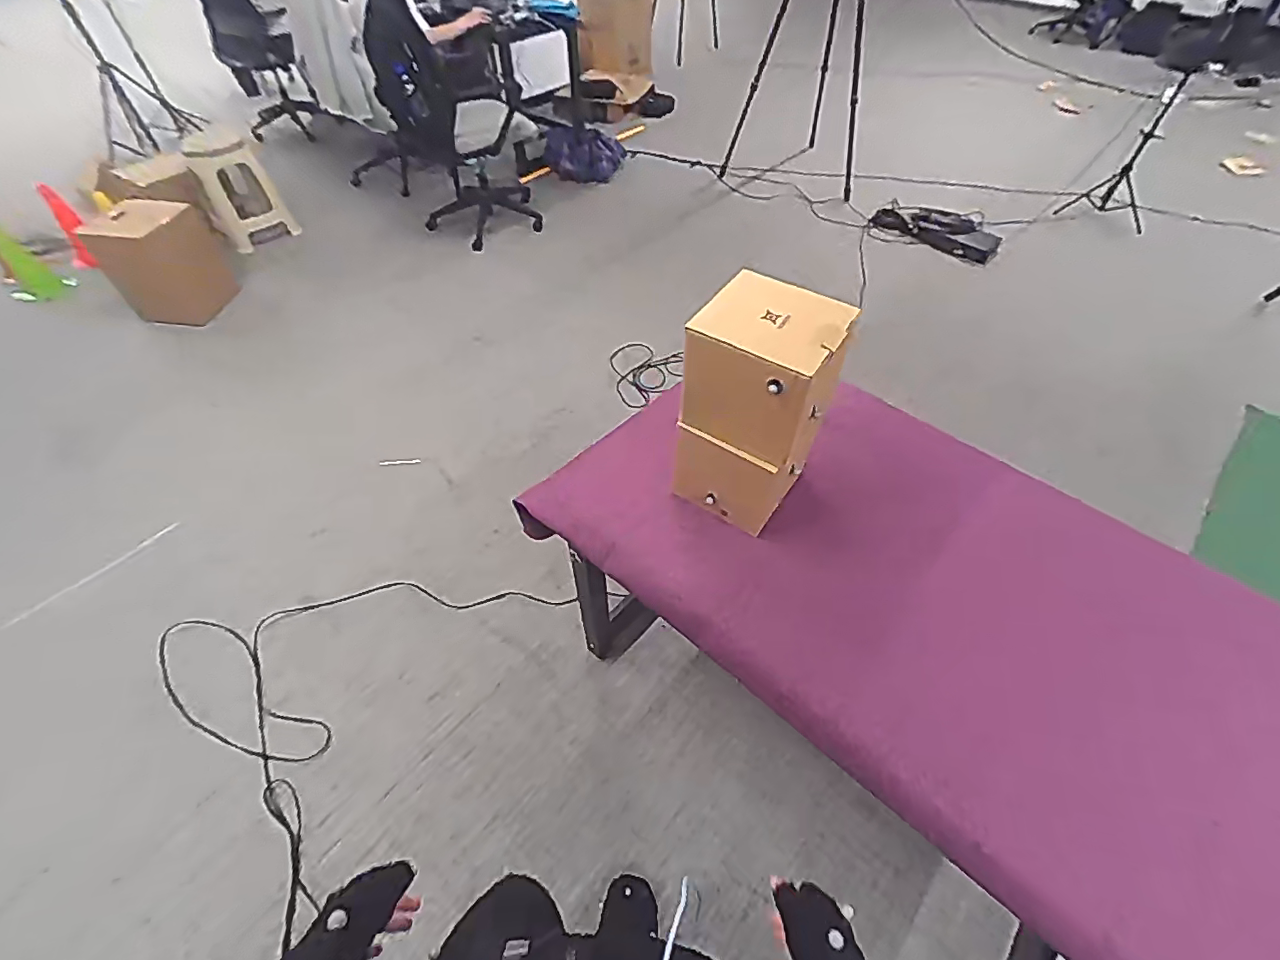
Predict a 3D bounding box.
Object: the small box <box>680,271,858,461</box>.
[{"bbox_3d":[0.168,-0.155,0.752,0.179,0.176,0.168,28,57,20],"label":"small box"}]
